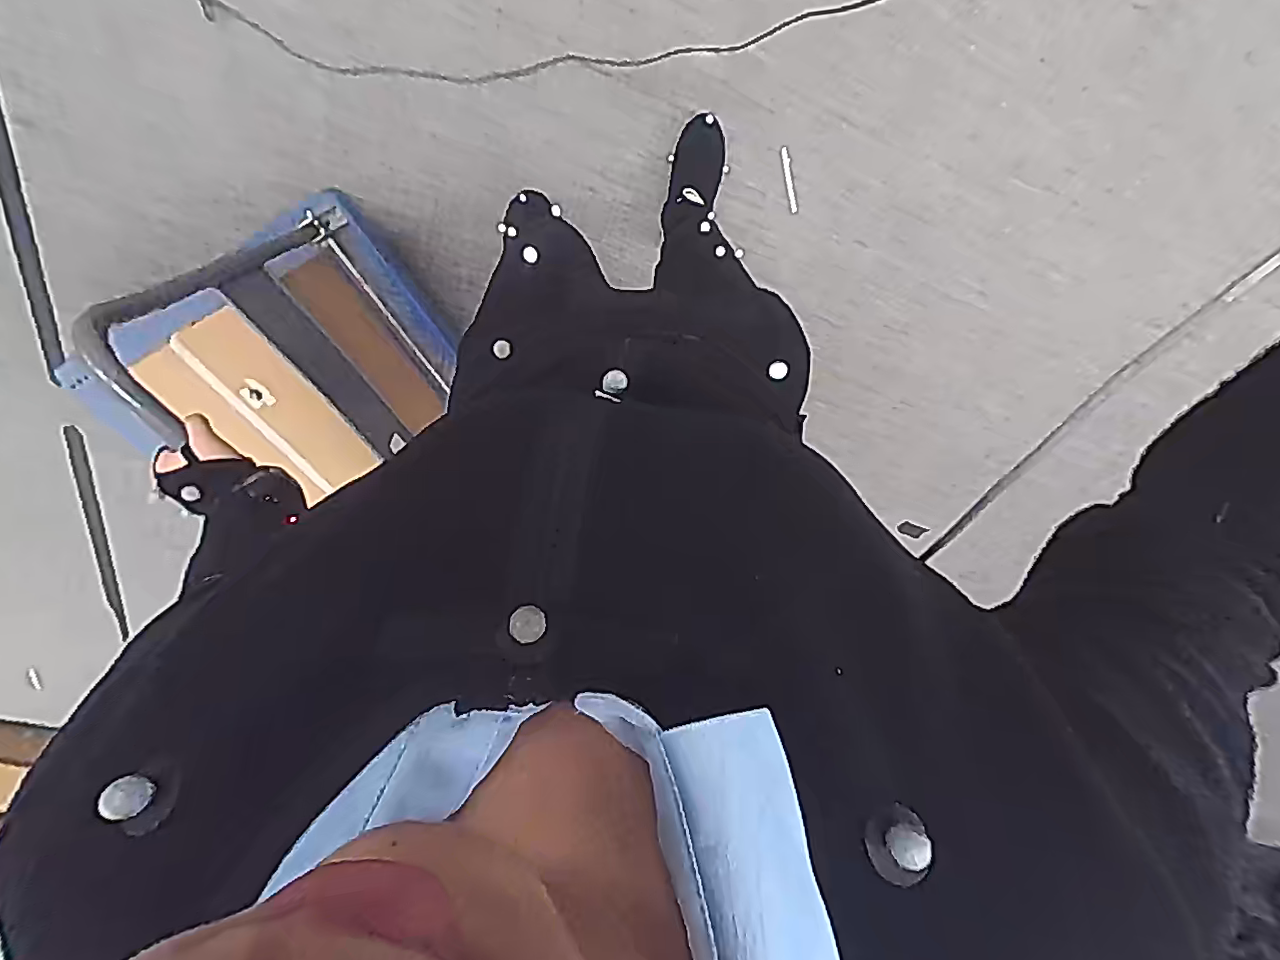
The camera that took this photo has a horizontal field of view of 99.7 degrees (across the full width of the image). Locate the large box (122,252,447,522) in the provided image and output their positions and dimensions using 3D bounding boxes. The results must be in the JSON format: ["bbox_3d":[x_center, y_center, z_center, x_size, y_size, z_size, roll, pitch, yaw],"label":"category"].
[{"bbox_3d":[-0.686,-0.191,1.132,0.320,0.320,0.408,-23,123,13],"label":"large box"}]
